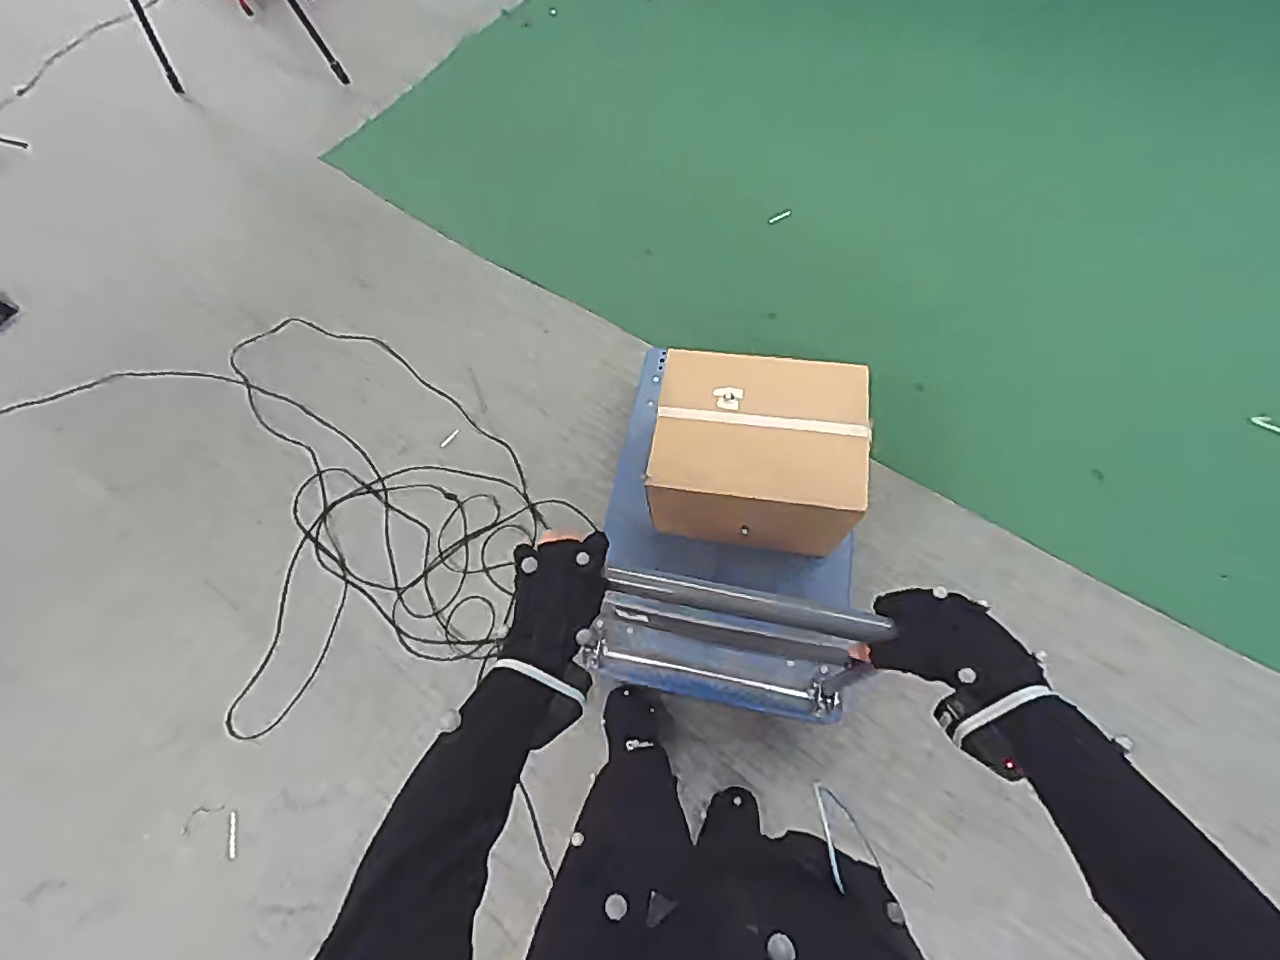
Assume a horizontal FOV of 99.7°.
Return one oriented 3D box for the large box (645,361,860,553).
[{"bbox_3d":[0.241,-0.039,1.196,0.408,0.320,0.320,6,67,8],"label":"large box"}]
